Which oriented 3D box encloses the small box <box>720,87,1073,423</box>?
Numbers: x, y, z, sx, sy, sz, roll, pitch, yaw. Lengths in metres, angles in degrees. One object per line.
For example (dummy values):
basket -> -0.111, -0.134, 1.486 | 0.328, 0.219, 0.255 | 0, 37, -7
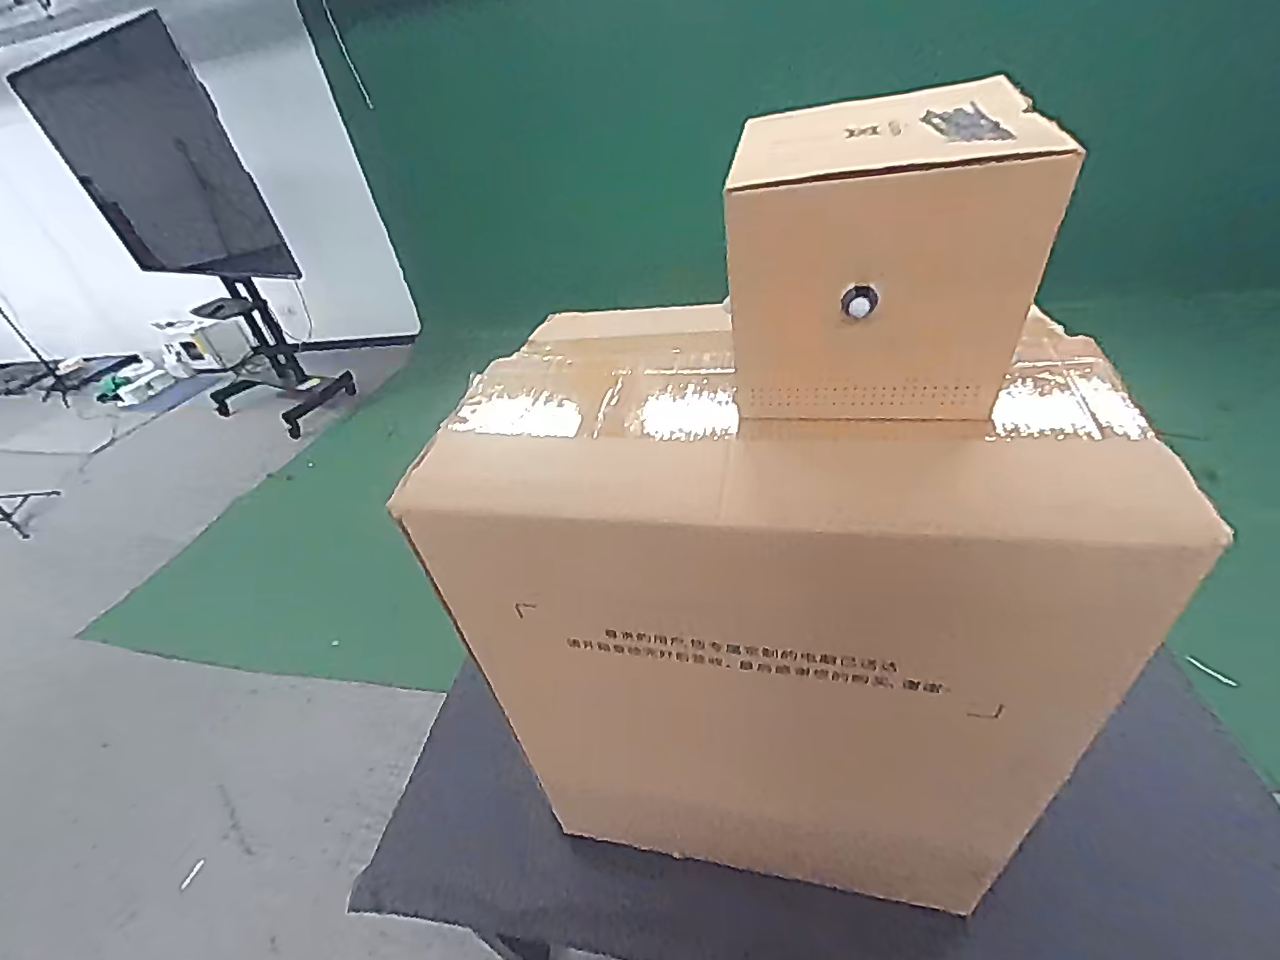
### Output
small box -> 0.161, -0.154, 0.393 | 0.179, 0.176, 0.168 | 2, 45, 17
